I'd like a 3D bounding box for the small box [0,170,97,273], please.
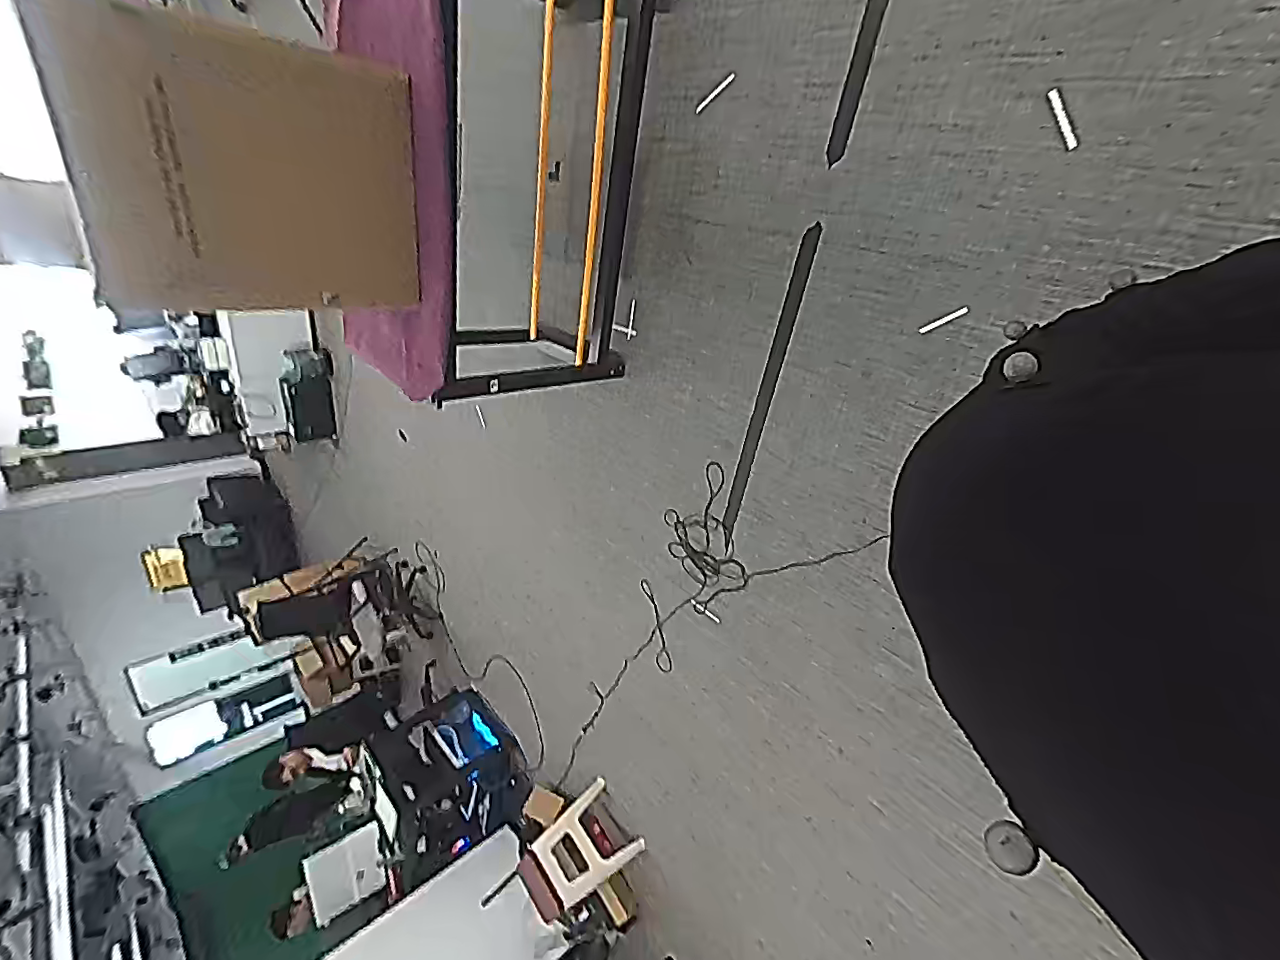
[{"bbox_3d":[-1.257,-0.532,1.108,0.168,0.176,0.179,30,122,38],"label":"small box"}]
